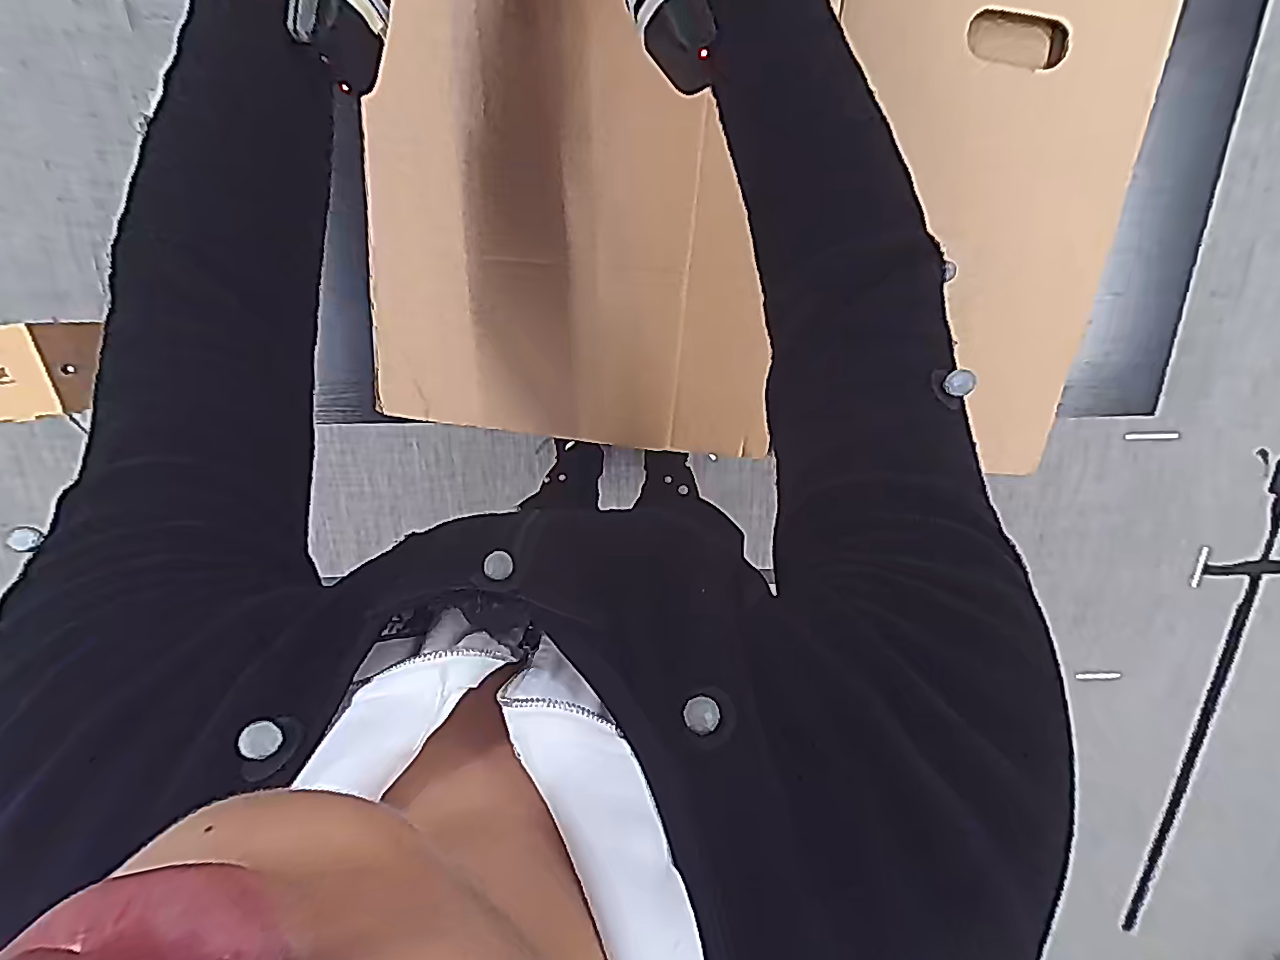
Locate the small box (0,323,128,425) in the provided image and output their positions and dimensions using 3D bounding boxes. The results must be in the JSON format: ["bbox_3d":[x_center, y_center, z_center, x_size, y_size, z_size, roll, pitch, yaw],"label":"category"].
[{"bbox_3d":[-1.213,-0.219,1.098,0.168,0.176,0.179,-8,106,-1],"label":"small box"}]
